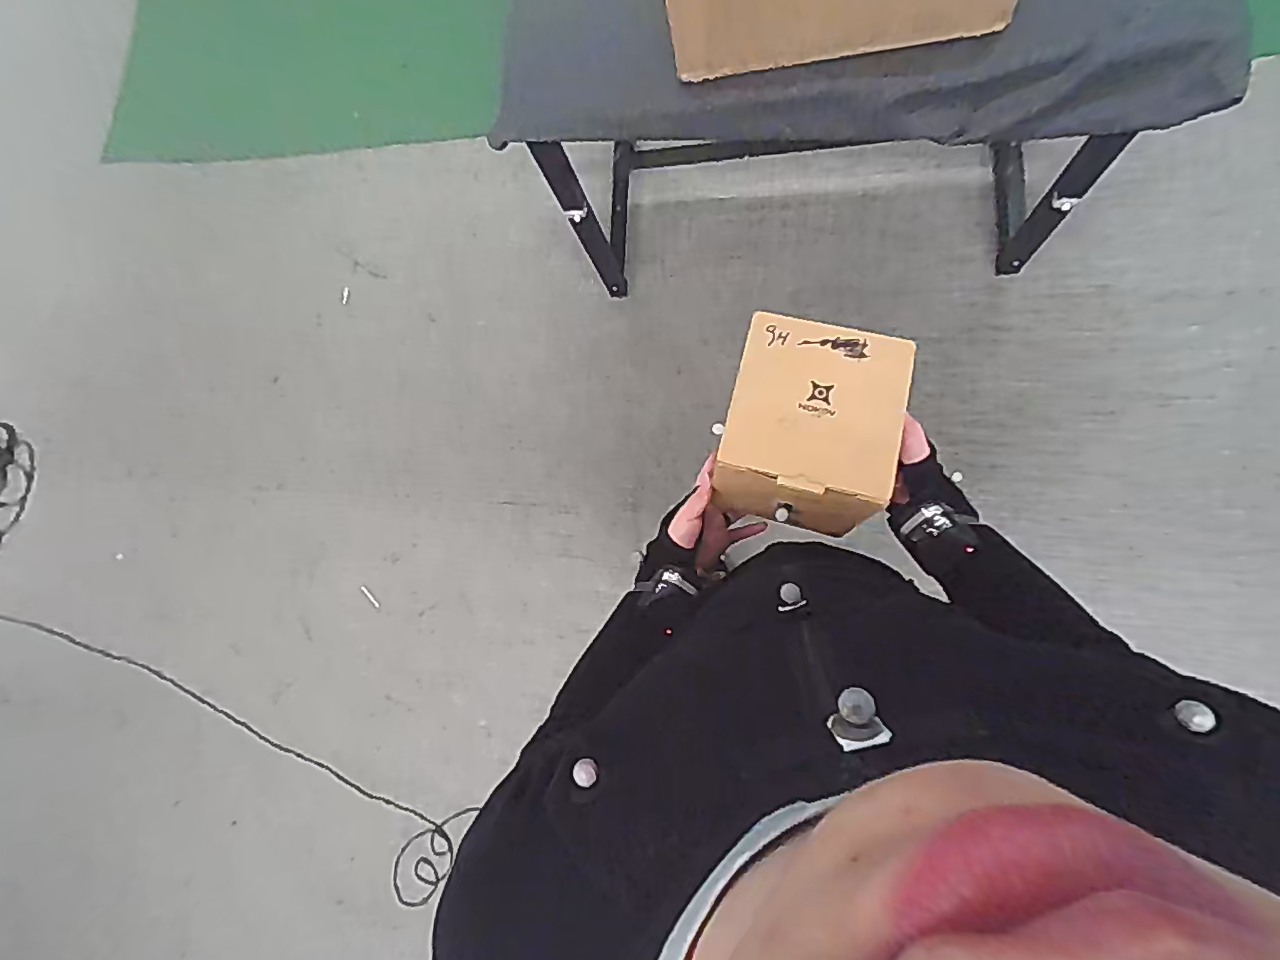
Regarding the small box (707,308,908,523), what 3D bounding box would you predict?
[{"bbox_3d":[0.176,-0.061,0.613,0.168,0.176,0.179,14,77,8],"label":"small box"}]
